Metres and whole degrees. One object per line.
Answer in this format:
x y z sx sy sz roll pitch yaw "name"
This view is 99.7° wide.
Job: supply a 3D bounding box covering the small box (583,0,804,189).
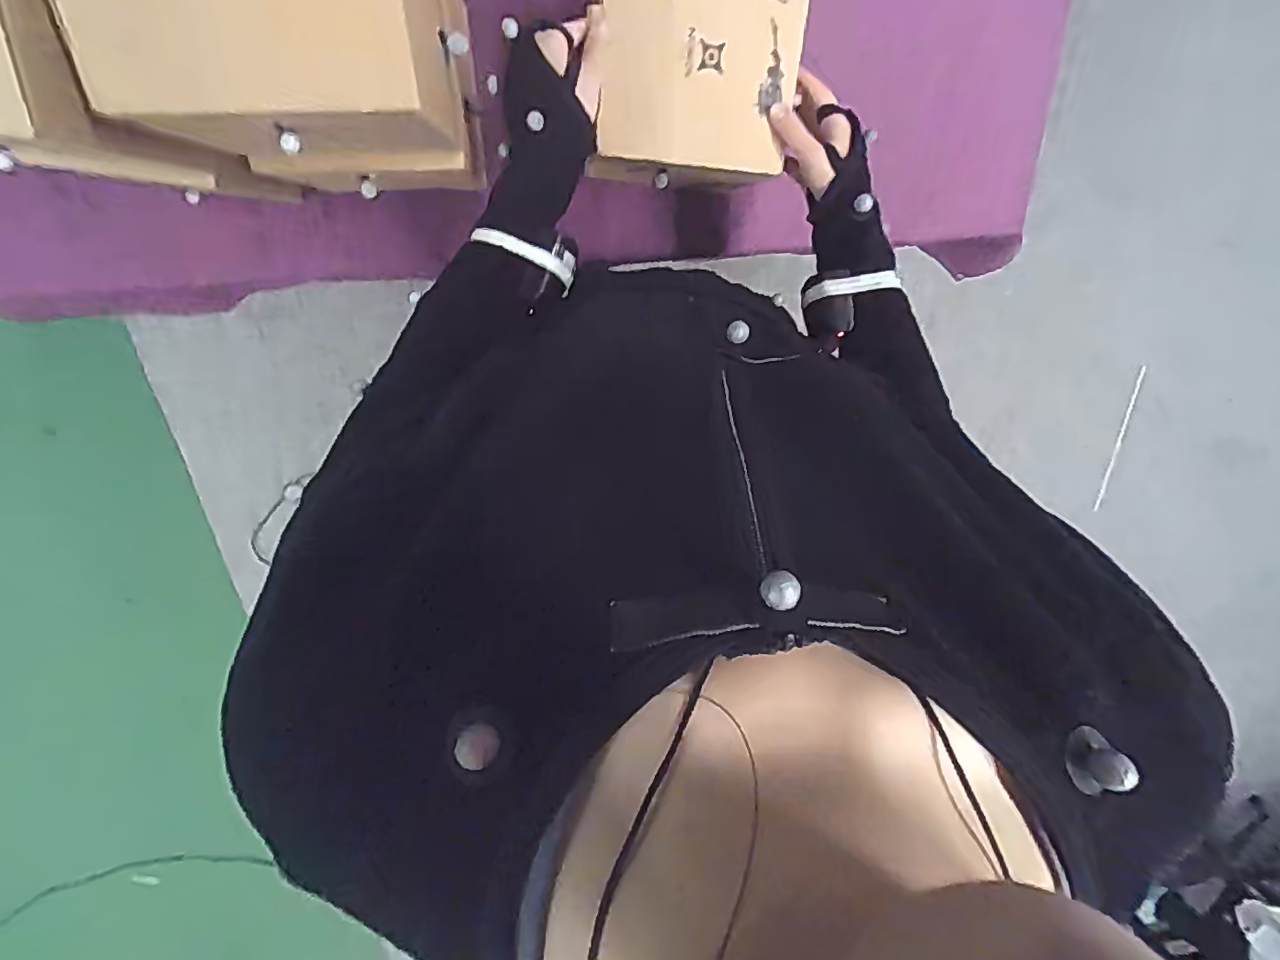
0.037 -0.387 0.519 0.179 0.176 0.168 2 112 -8 "small box"
